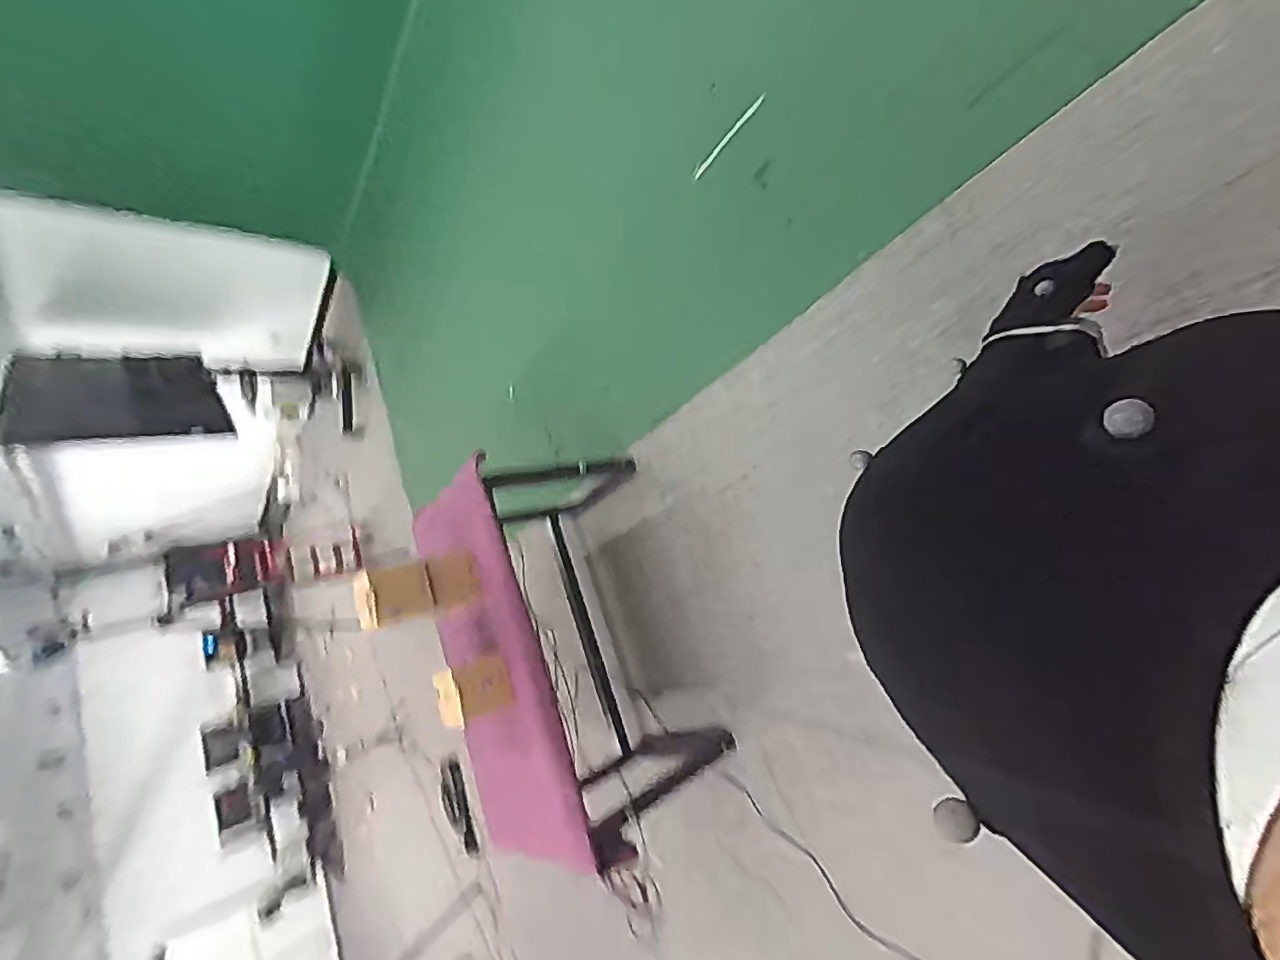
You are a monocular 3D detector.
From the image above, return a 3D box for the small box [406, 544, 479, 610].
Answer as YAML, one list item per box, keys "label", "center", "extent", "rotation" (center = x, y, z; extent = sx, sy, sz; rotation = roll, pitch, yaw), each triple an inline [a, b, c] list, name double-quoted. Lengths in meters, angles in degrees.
- label: "small box"
  center: [-0.643, 0.316, 1.775]
  extent: [0.179, 0.176, 0.168]
  rotation: [-26, 76, 46]

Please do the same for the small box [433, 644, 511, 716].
- label: "small box"
  center: [-0.522, 0.627, 1.701]
  extent: [0.179, 0.176, 0.168]
  rotation: [-28, 76, 45]
